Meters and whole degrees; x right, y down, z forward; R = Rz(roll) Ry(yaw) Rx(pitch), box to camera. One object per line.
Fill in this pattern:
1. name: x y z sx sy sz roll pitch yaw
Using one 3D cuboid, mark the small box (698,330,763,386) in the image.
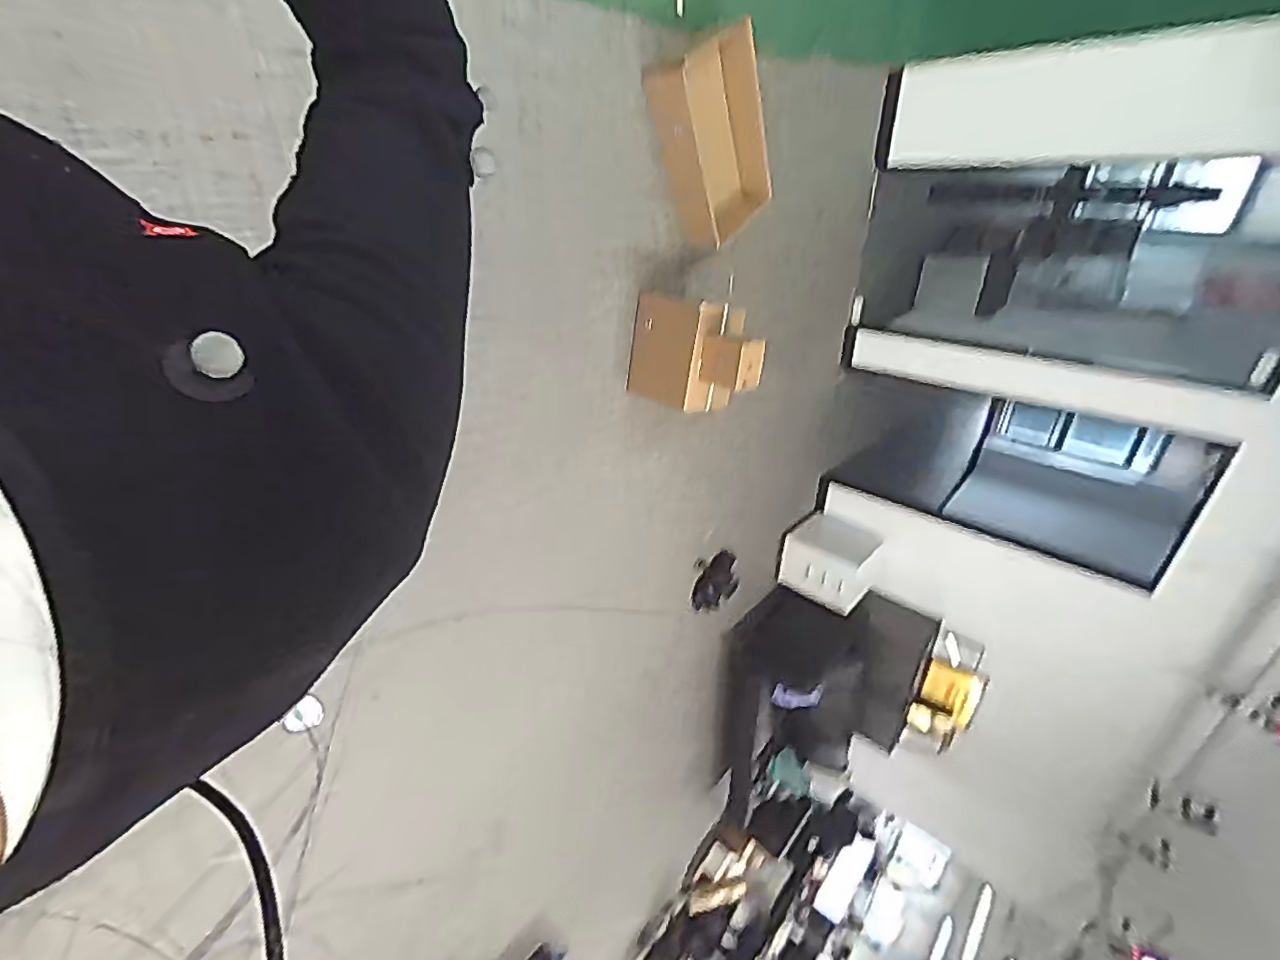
1. small box: 0.337 -0.465 2.032 0.168 0.176 0.179 -21 124 -43
